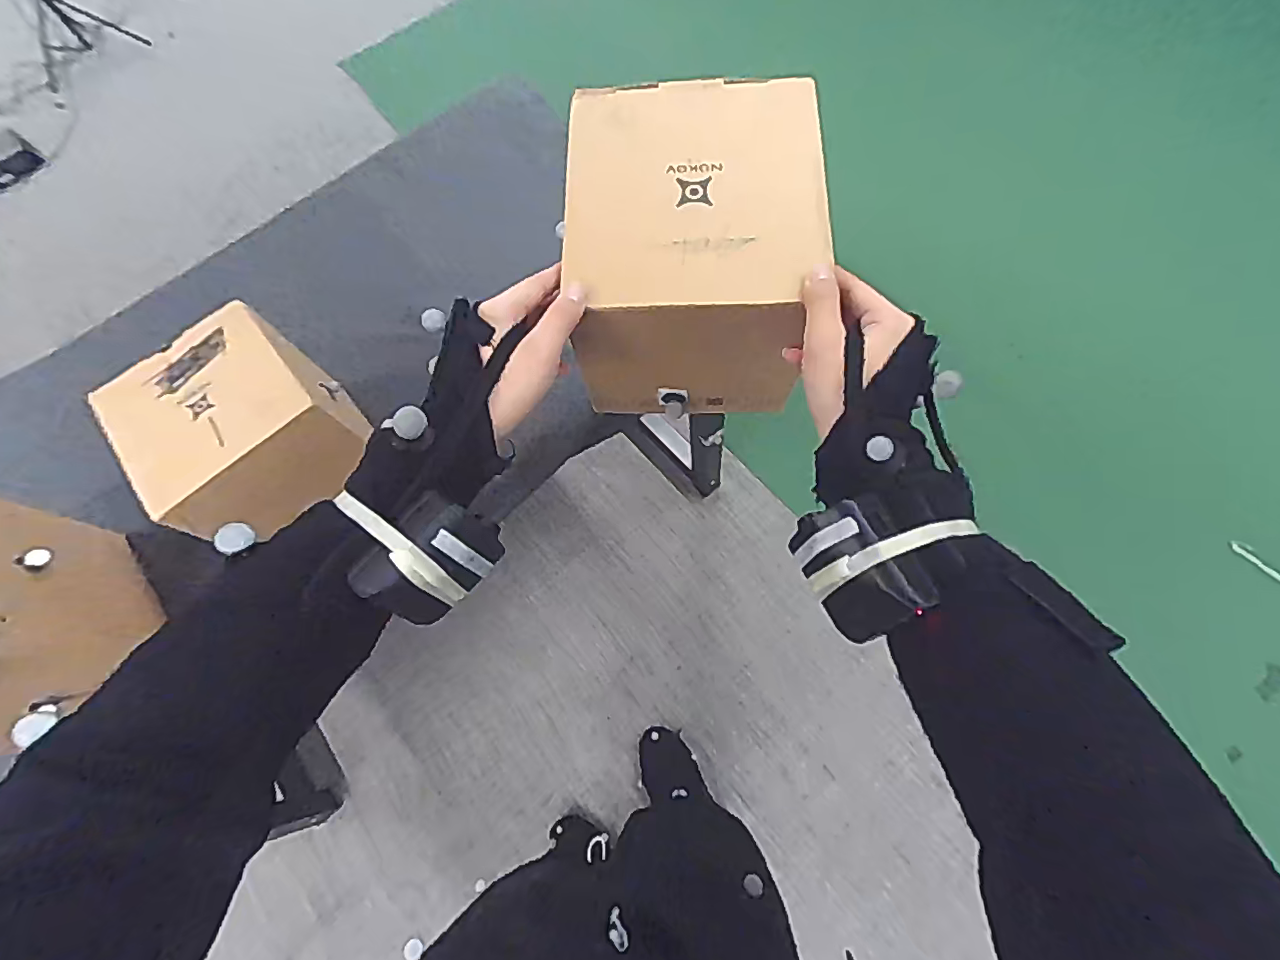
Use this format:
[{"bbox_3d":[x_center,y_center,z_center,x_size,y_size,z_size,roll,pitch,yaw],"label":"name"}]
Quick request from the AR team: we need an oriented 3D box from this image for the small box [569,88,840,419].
[{"bbox_3d":[0.044,-0.162,0.424,0.168,0.176,0.179,0,74,4],"label":"small box"}]

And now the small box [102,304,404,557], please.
[{"bbox_3d":[-0.396,-0.043,0.580,0.168,0.176,0.179,-41,69,-10],"label":"small box"}]
